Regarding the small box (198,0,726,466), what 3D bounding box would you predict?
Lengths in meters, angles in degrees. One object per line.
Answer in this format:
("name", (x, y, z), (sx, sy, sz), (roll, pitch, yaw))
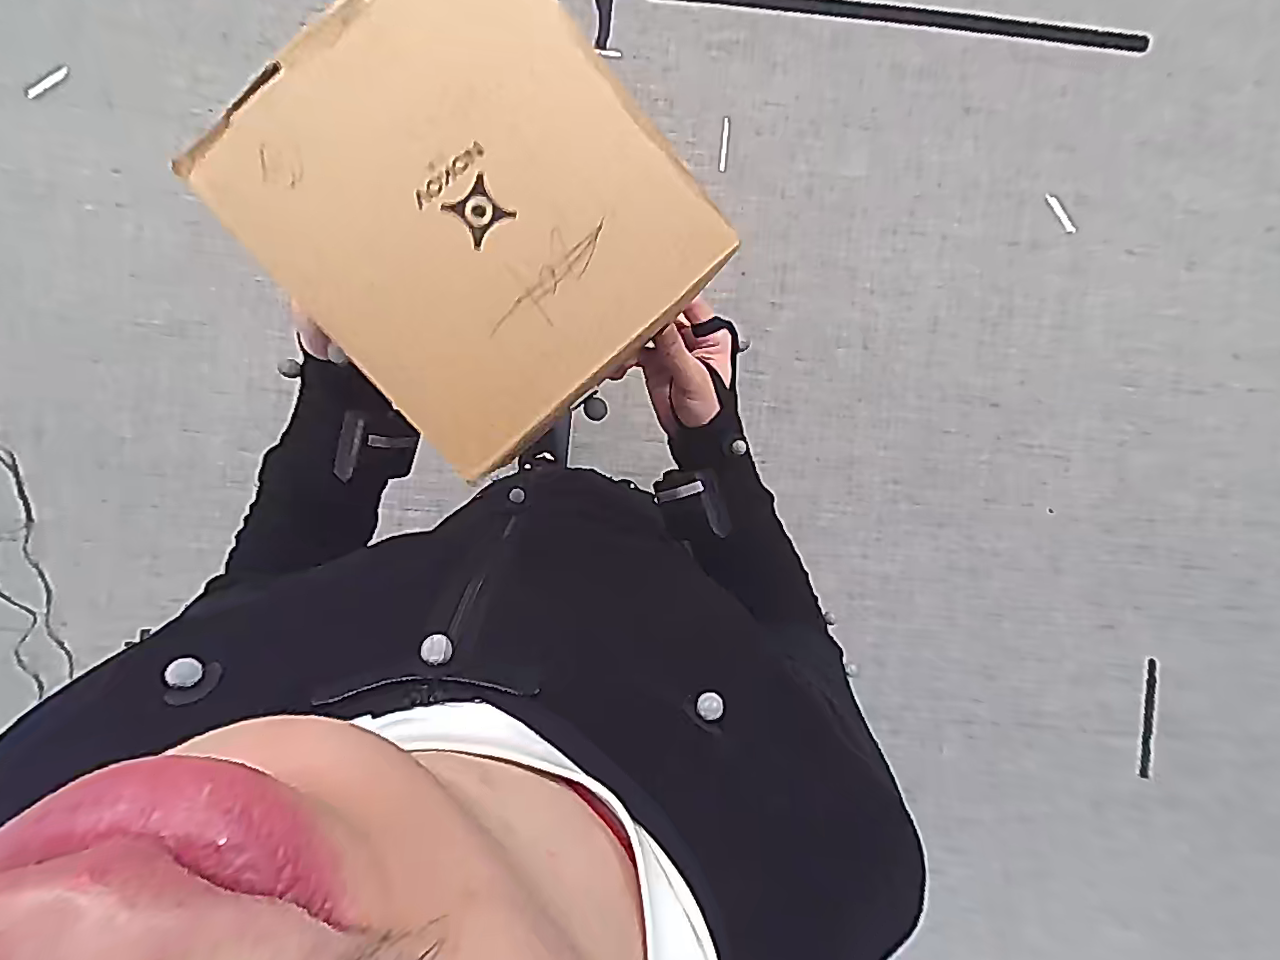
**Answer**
("small box", (-0.083, -0.129, 0.322), (0.168, 0.176, 0.179), (-42, 99, 1))
